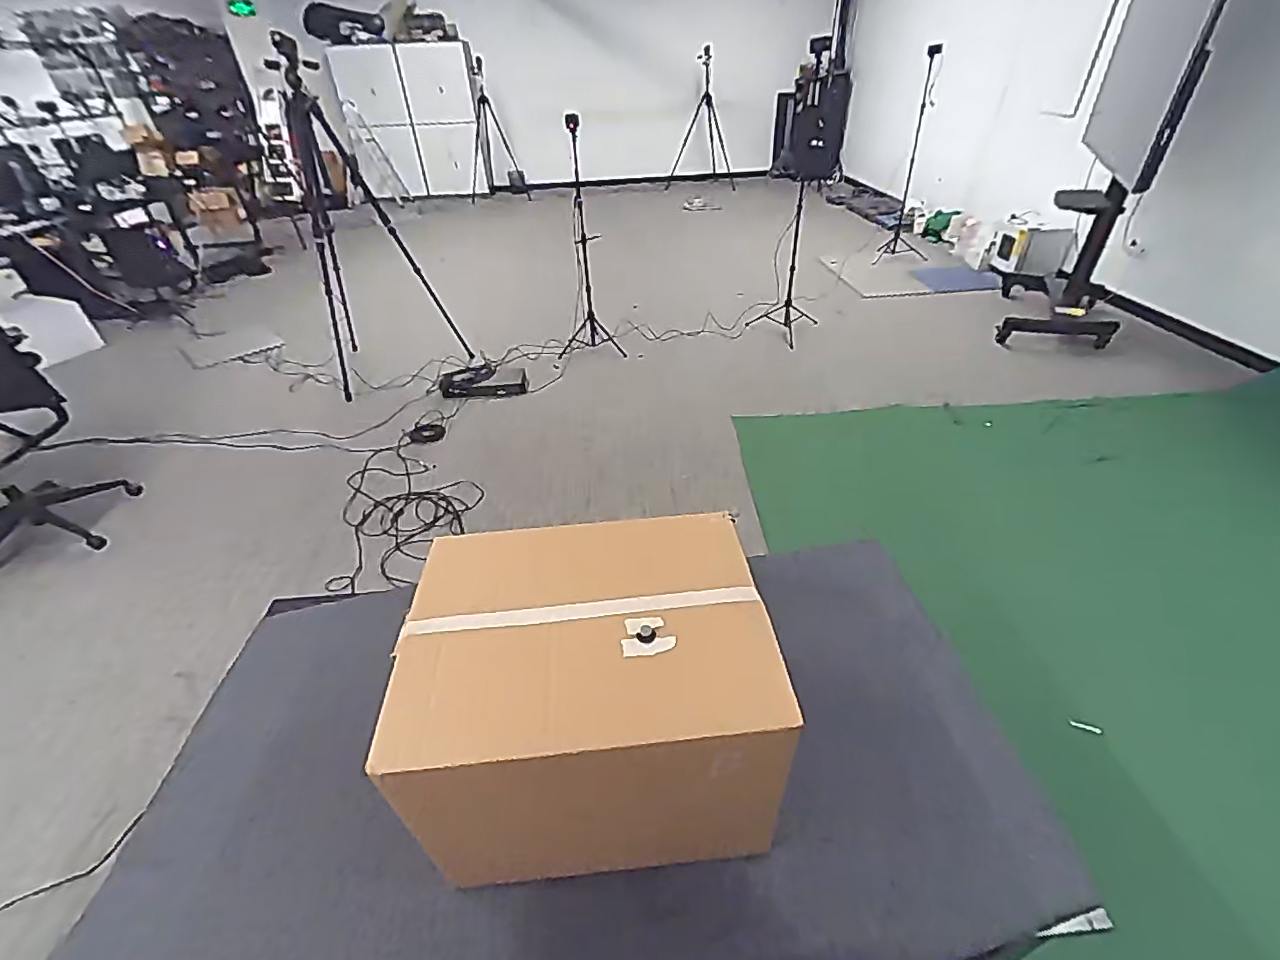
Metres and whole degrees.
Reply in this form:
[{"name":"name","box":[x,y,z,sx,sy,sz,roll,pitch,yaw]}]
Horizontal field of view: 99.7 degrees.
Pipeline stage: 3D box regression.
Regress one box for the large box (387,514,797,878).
[{"name":"large box","box":[-0.053,0.275,0.720,0.408,0.320,0.320,-5,38,-3]}]
